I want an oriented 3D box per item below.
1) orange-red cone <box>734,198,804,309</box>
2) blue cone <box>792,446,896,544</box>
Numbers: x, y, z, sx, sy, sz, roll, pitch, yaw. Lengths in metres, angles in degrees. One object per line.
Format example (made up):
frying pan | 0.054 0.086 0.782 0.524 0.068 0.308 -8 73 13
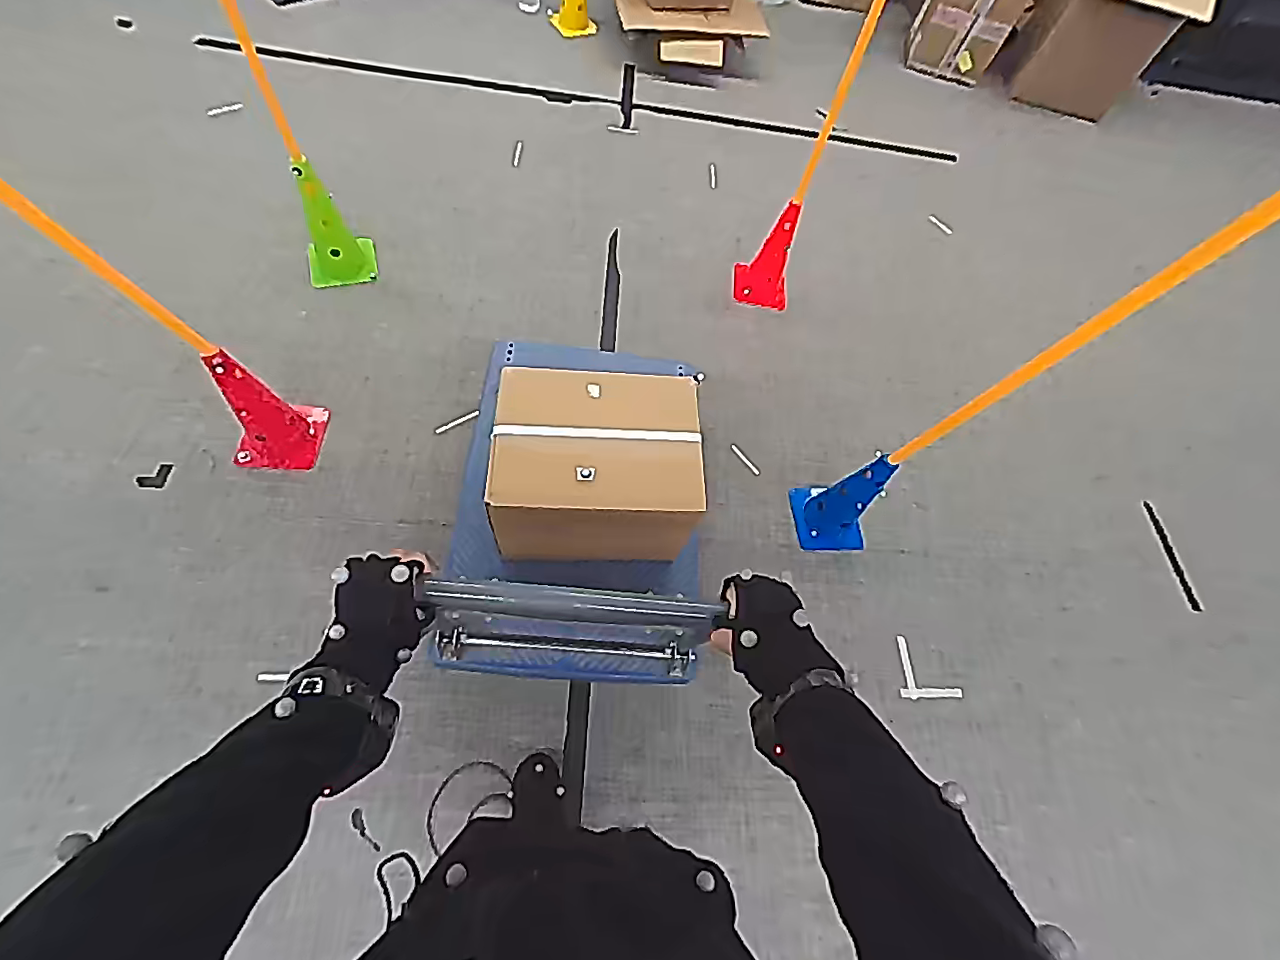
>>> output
orange-red cone | 0.473 -0.793 1.845 0.199 0.360 0.198 11 63 -4
blue cone | 0.579 0.027 1.463 0.193 0.380 0.192 1 62 -9
